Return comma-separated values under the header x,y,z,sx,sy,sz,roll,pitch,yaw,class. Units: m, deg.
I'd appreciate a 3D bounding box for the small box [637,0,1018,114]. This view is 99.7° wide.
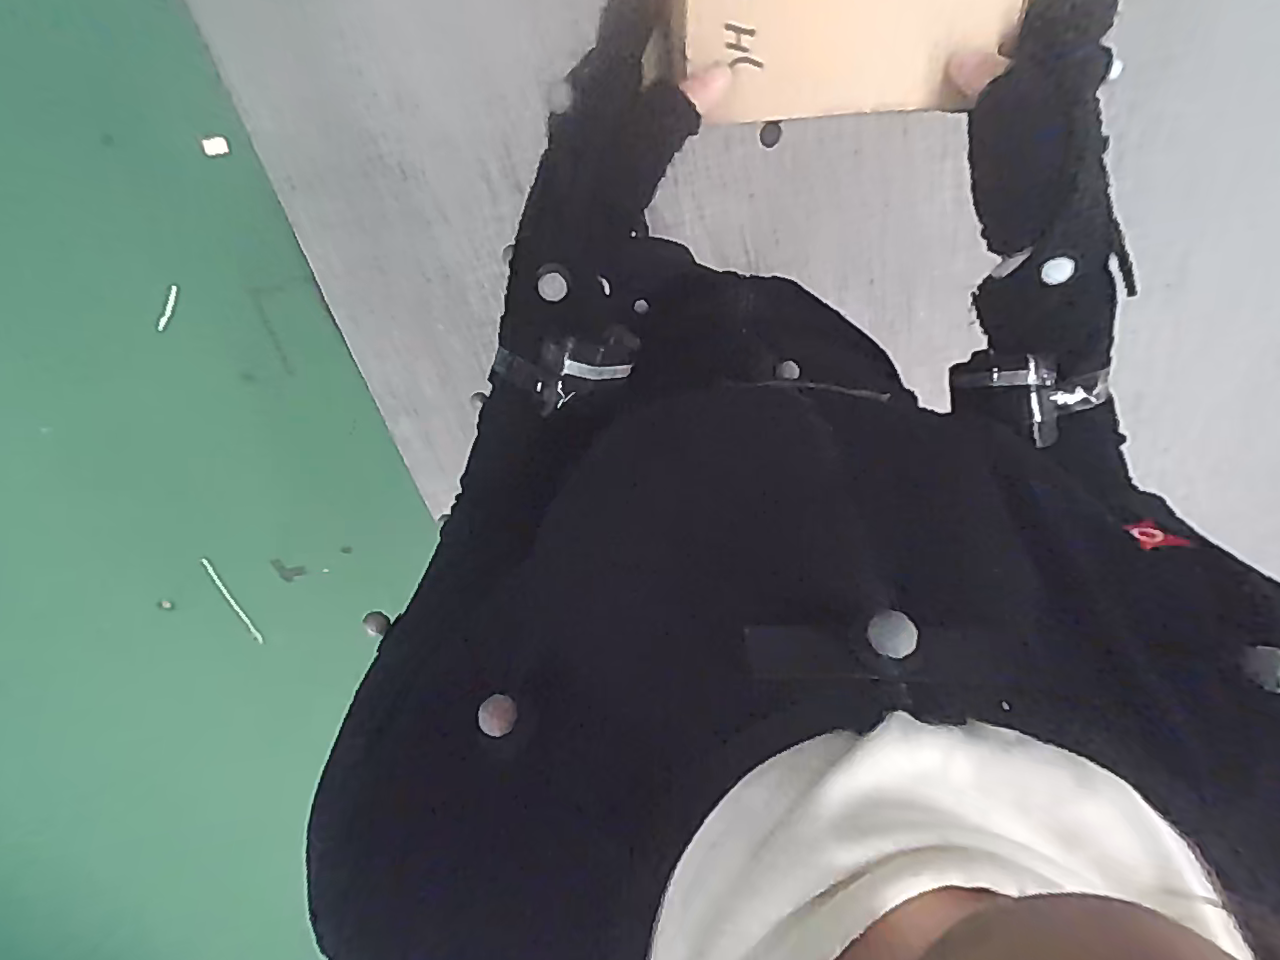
x,y,z,sx,sy,sz,roll,pitch,yaw,class
0.095,-0.312,0.309,0.179,0.176,0.168,-6,123,-5,small box
